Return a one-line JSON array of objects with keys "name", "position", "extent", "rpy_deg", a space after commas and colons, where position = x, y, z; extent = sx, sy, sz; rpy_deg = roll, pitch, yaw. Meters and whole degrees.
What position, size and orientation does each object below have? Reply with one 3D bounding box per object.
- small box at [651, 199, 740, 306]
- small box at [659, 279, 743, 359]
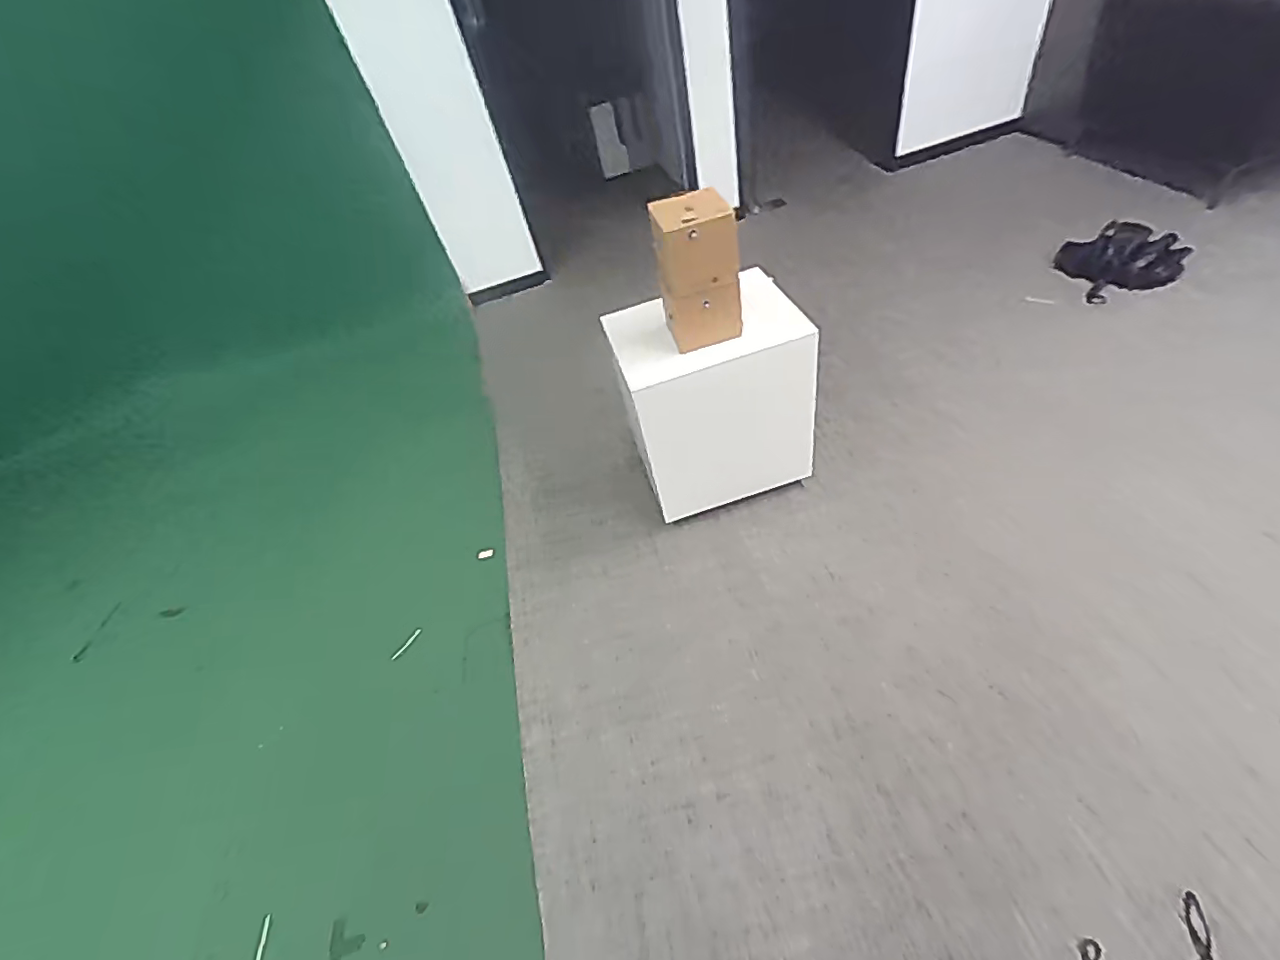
[{"name": "small box", "position": [0.136, -0.556, 1.325], "extent": [0.168, 0.176, 0.179], "rpy_deg": [-18, 47, -2]}, {"name": "small box", "position": [0.164, -0.447, 1.440], "extent": [0.179, 0.176, 0.168], "rpy_deg": [-17, 47, -1]}]
